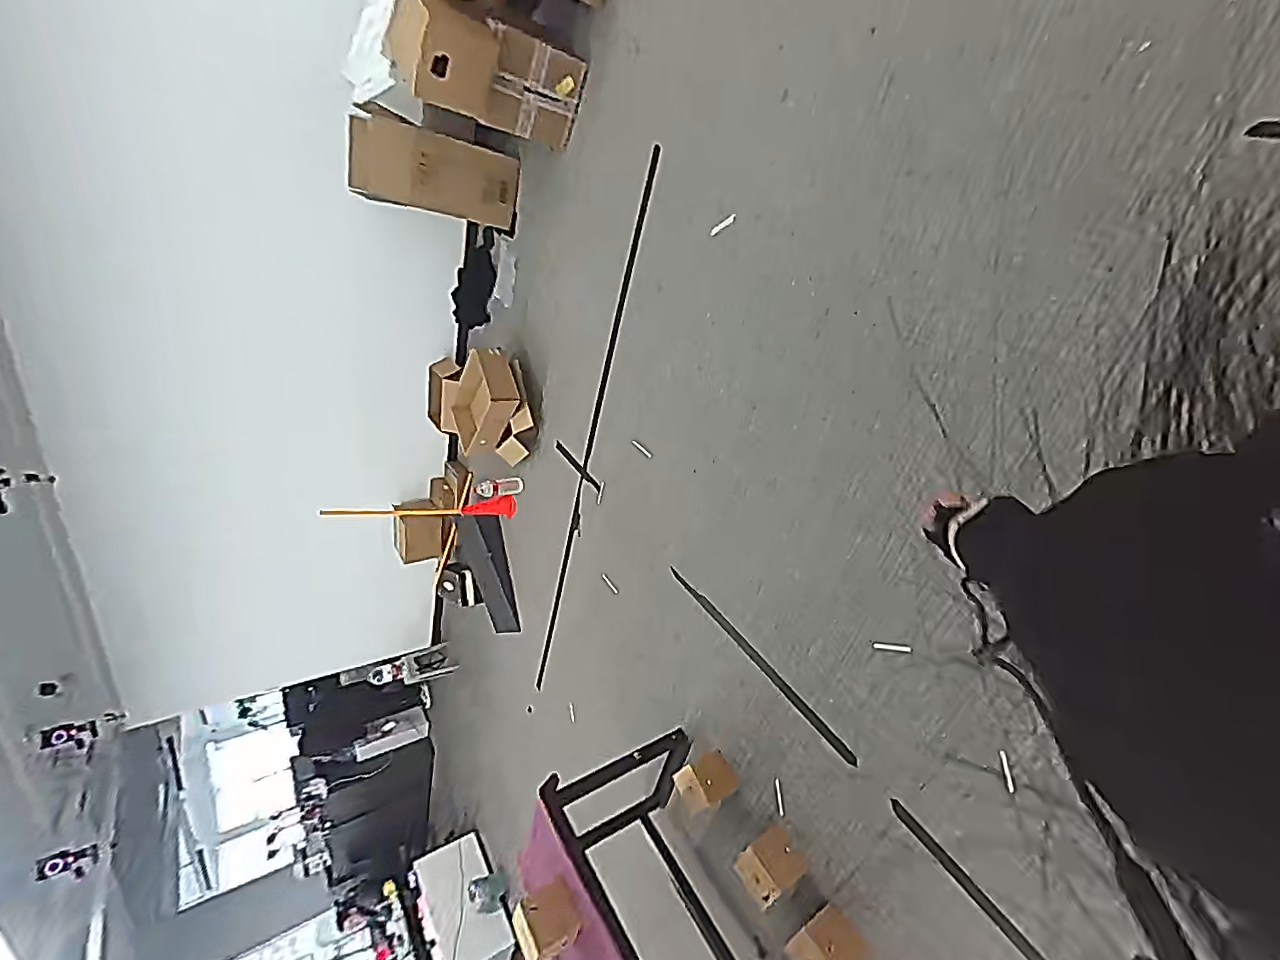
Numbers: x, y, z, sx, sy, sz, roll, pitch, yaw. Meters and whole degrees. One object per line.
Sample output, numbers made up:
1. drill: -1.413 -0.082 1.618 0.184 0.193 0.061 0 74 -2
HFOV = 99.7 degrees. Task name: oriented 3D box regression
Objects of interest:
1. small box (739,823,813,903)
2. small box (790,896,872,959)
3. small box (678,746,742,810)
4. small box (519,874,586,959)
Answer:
1. small box: 0.515 1.439 2.047 0.179 0.176 0.168 48 131 38
2. small box: 0.665 1.606 1.875 0.179 0.176 0.168 45 129 40
3. small box: 0.300 1.265 2.308 0.179 0.176 0.168 57 136 28
4. small box: -0.318 1.582 1.966 0.179 0.176 0.168 45 131 39
